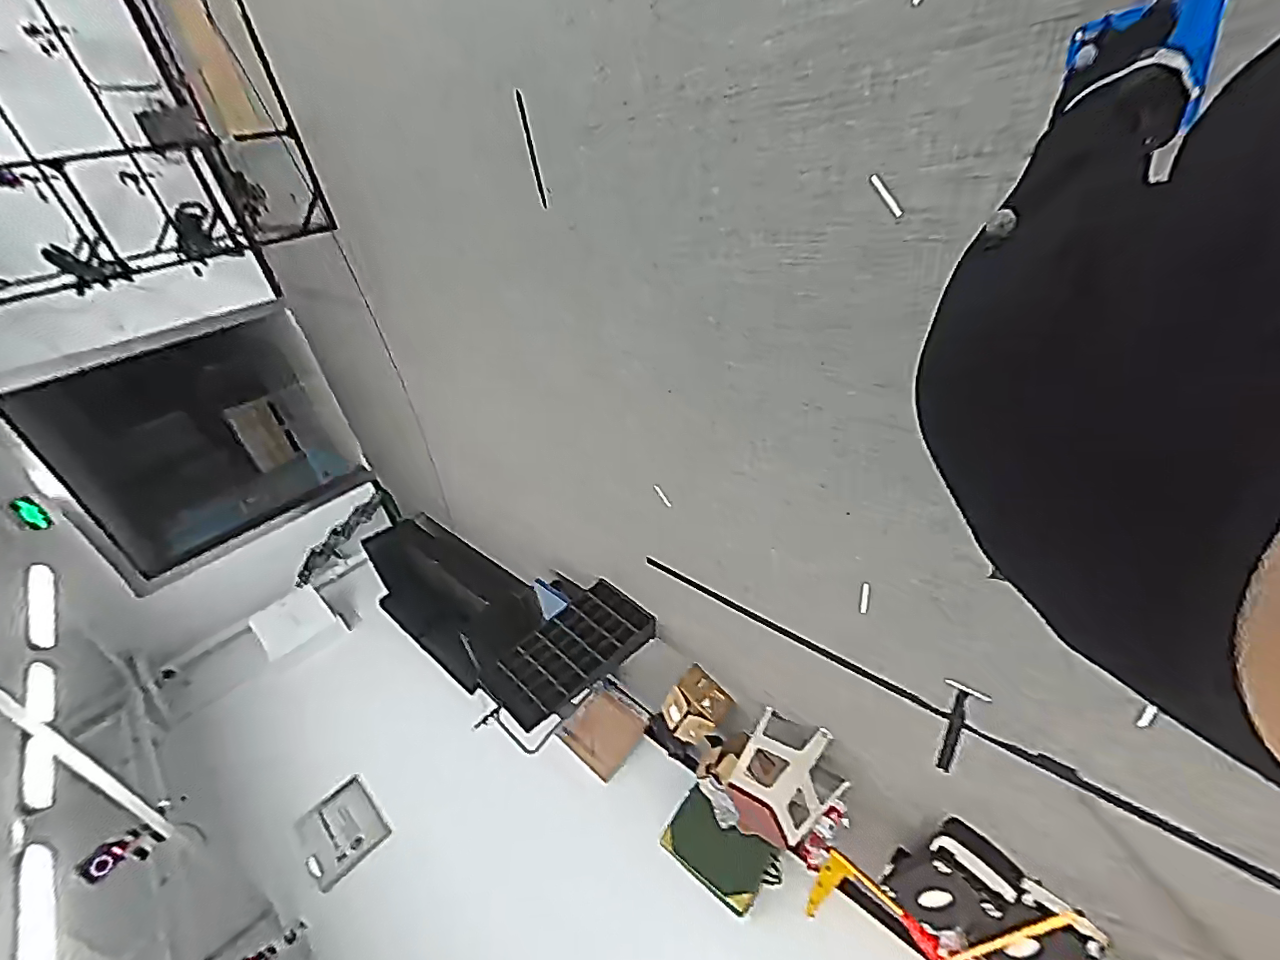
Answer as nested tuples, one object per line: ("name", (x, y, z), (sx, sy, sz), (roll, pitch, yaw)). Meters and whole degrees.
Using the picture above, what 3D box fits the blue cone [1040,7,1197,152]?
("blue cone", (0.739, -0.633, 0.879), (0.192, 0.380, 0.193), (20, 132, 43))
